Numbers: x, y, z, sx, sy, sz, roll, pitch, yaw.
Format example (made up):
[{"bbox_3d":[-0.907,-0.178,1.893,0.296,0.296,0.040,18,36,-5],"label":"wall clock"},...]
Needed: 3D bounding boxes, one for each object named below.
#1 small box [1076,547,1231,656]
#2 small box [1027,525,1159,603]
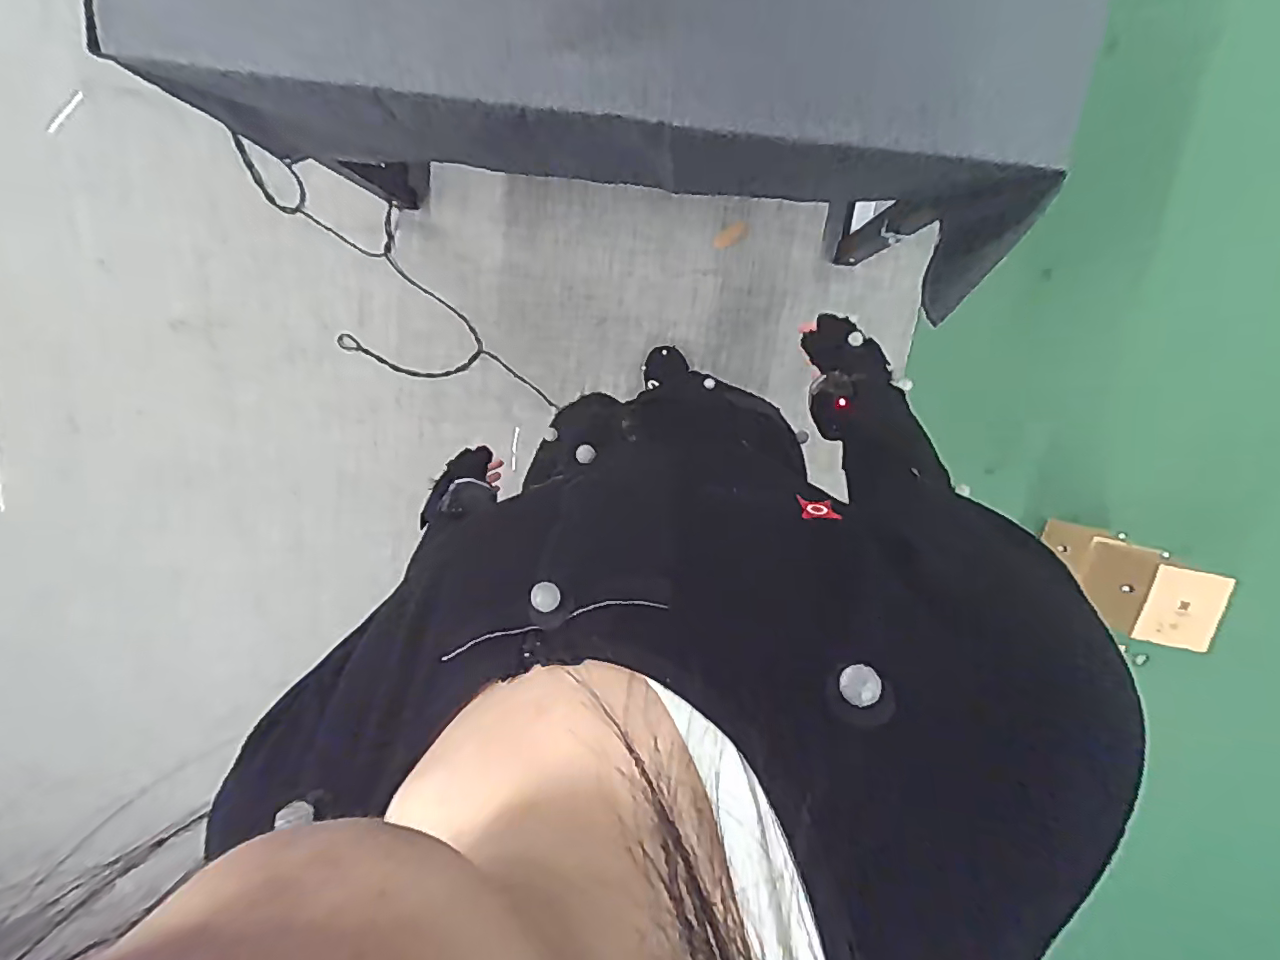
[{"bbox_3d":[1.152,0.267,1.232,0.168,0.176,0.179,12,101,0],"label":"small box"},{"bbox_3d":[1.151,0.224,1.391,0.179,0.176,0.168,13,101,0],"label":"small box"}]
